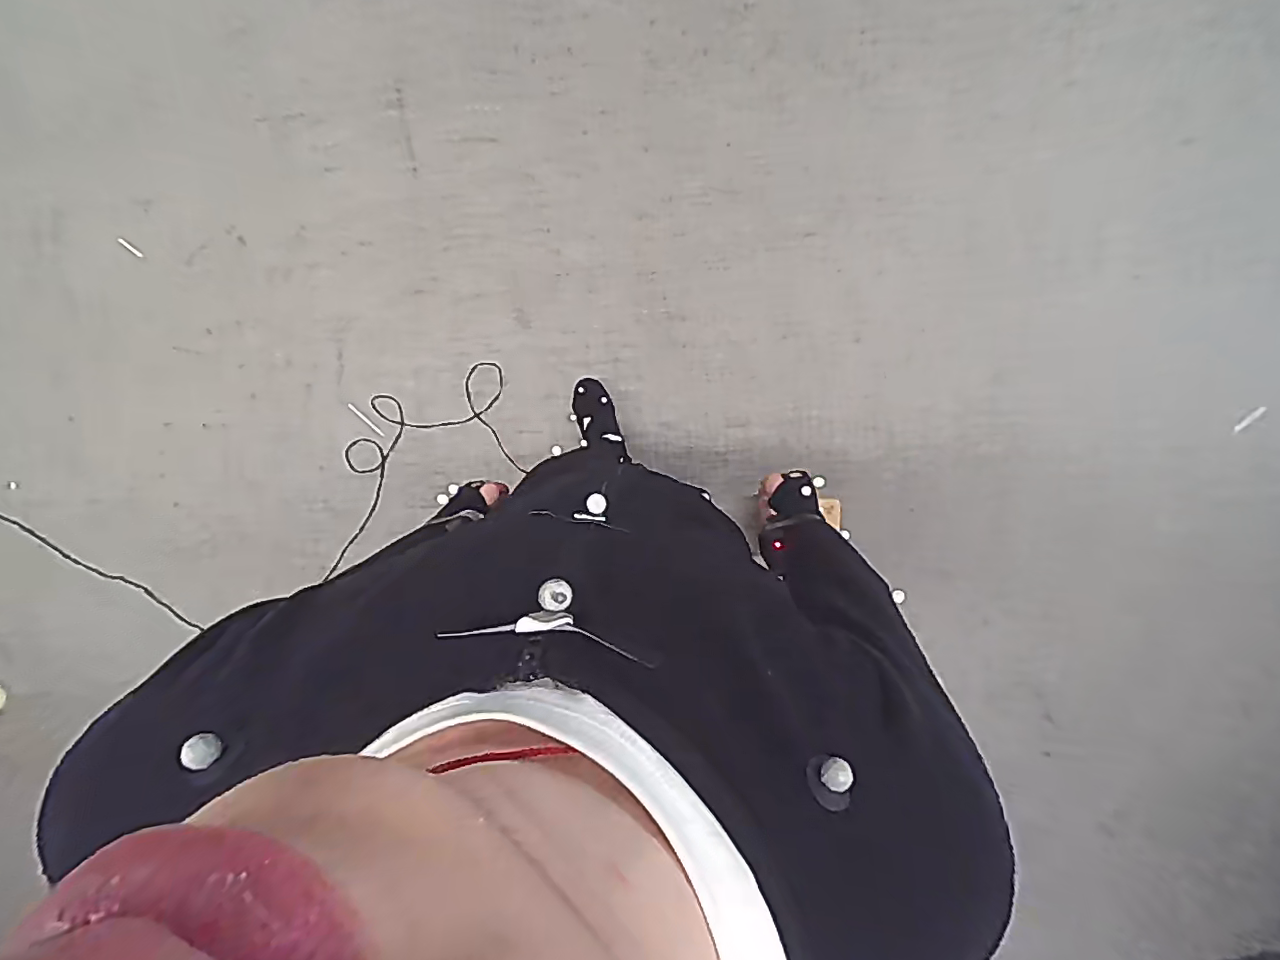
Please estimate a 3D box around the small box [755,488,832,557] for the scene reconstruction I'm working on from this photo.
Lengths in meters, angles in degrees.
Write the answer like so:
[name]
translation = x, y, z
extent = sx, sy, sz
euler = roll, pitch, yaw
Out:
[small box]
translation = 0.414, 0.113, 1.487
extent = 0.179, 0.176, 0.168
euler = -3, 94, 3
